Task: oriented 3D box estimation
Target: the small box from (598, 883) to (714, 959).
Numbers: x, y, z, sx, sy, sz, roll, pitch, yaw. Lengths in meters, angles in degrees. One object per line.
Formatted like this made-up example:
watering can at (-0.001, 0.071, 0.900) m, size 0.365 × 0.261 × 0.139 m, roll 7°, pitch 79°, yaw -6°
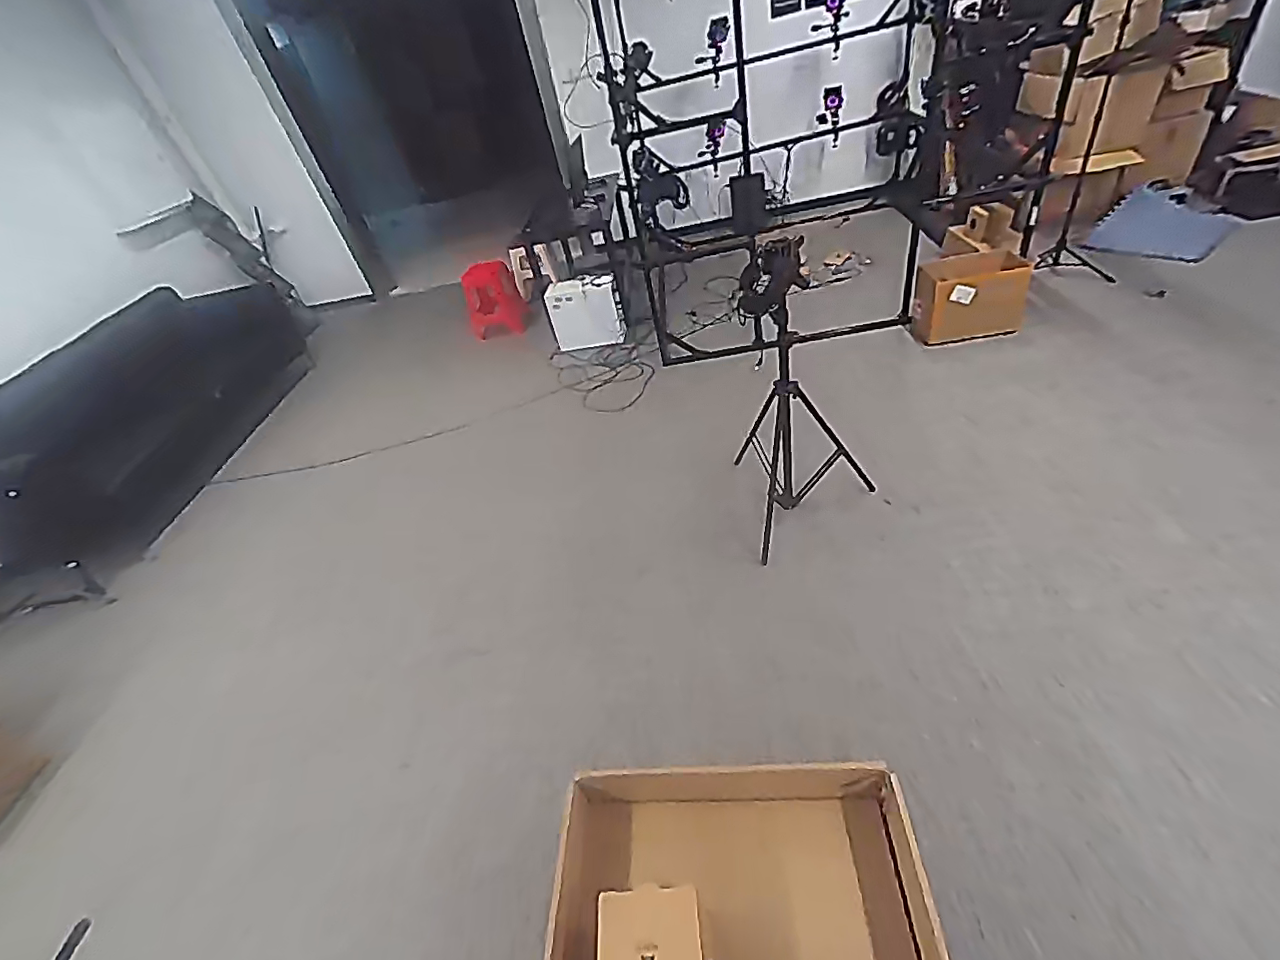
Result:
small box at (0.030, 0.791, 0.879) m, size 0.168 × 0.176 × 0.179 m, roll -10°, pitch 39°, yaw 7°
